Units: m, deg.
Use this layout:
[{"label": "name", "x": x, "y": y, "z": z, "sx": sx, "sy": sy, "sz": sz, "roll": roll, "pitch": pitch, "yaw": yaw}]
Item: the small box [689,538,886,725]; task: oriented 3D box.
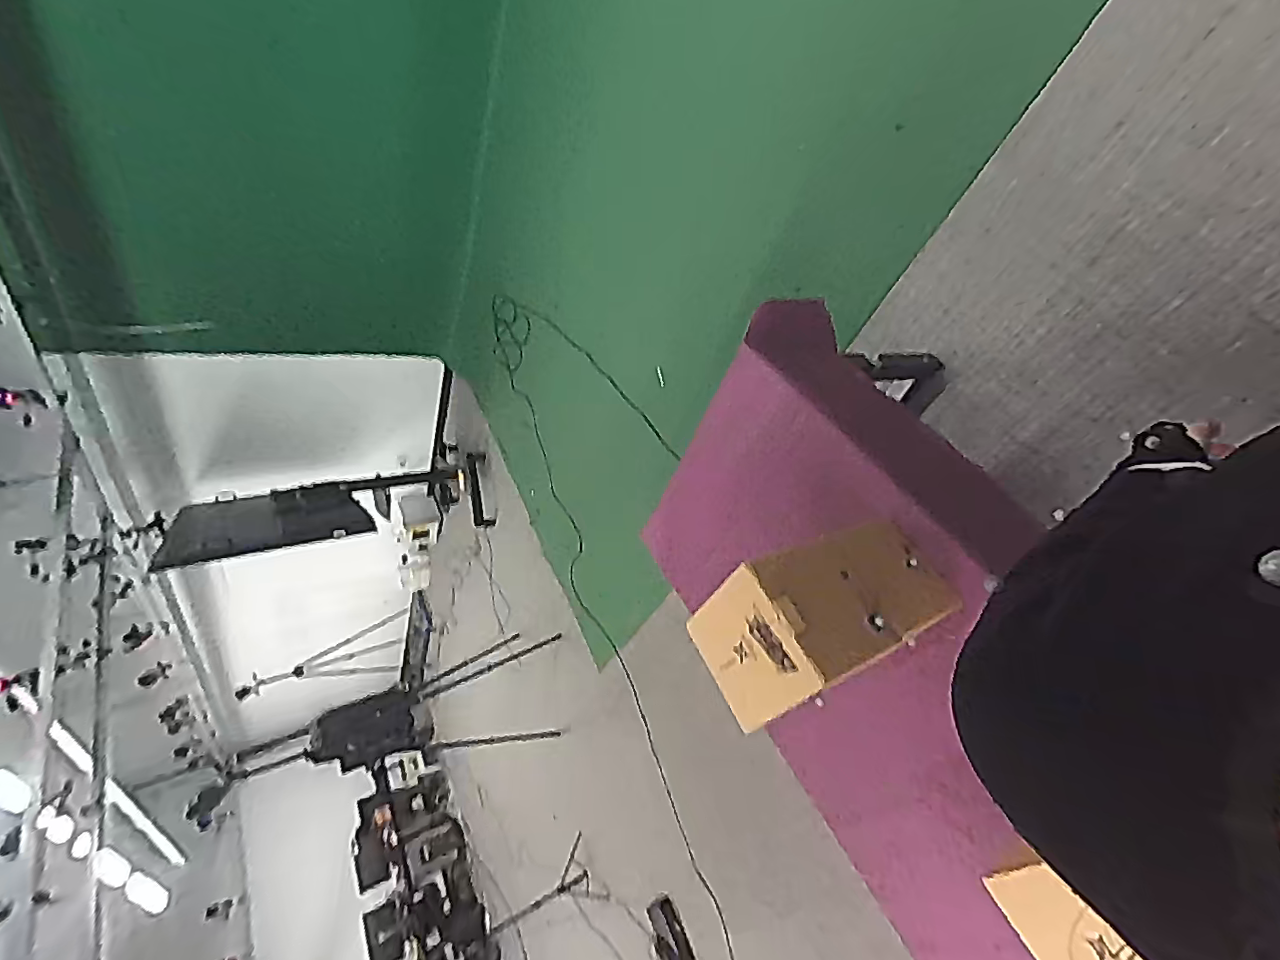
[{"label": "small box", "x": 0.204, "y": 0.201, "z": 0.745, "sx": 0.168, "sy": 0.176, "sz": 0.179, "roll": 60, "pitch": 141, "yaw": 28}]
